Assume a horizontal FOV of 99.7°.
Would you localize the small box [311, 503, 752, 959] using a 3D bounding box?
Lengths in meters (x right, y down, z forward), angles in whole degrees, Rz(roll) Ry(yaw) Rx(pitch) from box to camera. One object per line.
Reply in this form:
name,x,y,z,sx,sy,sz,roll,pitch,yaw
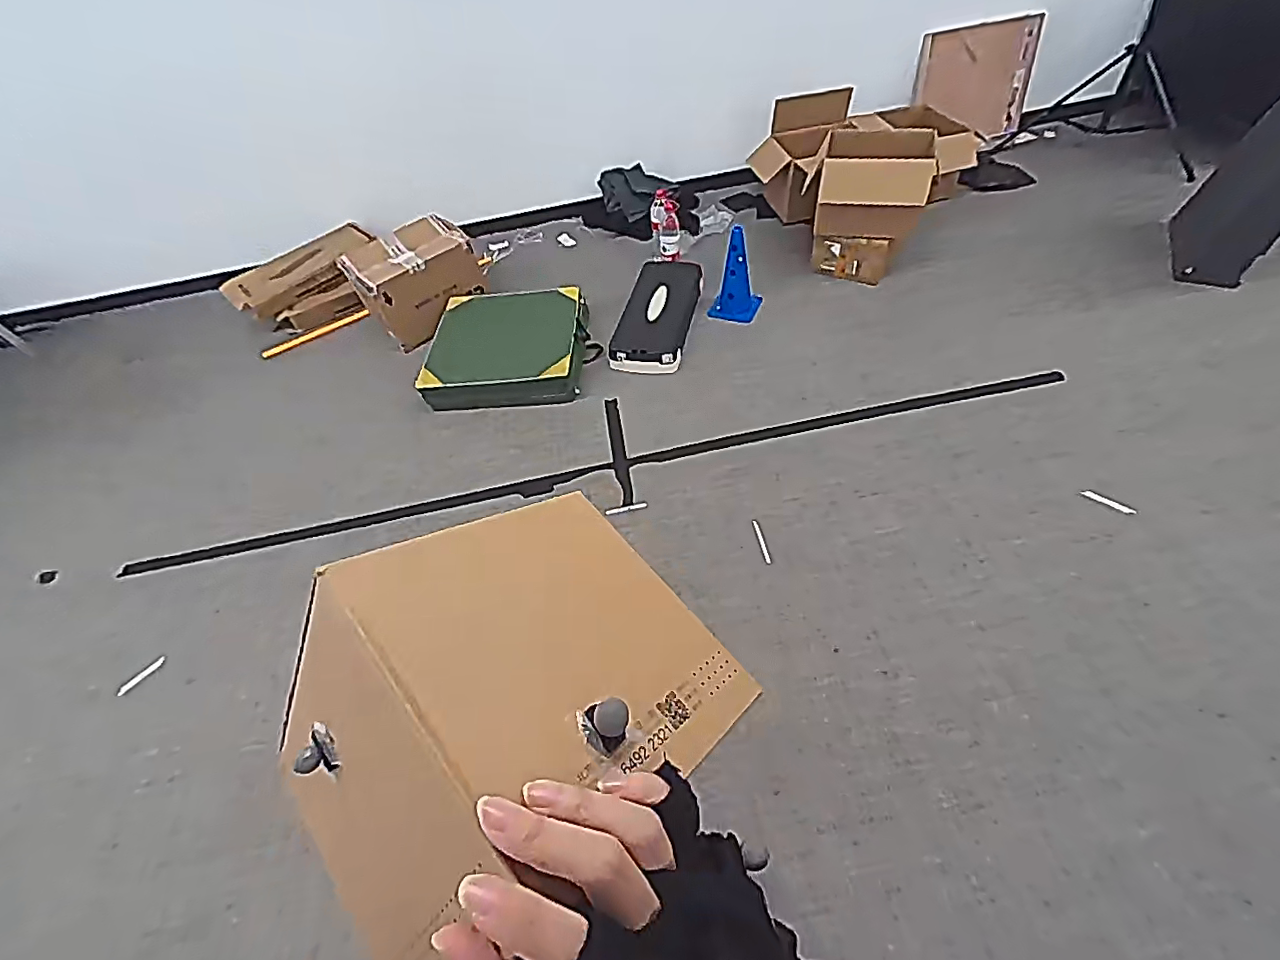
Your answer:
small box,-0.068,0.146,0.327,0.176,0.179,0.168,45,34,21
